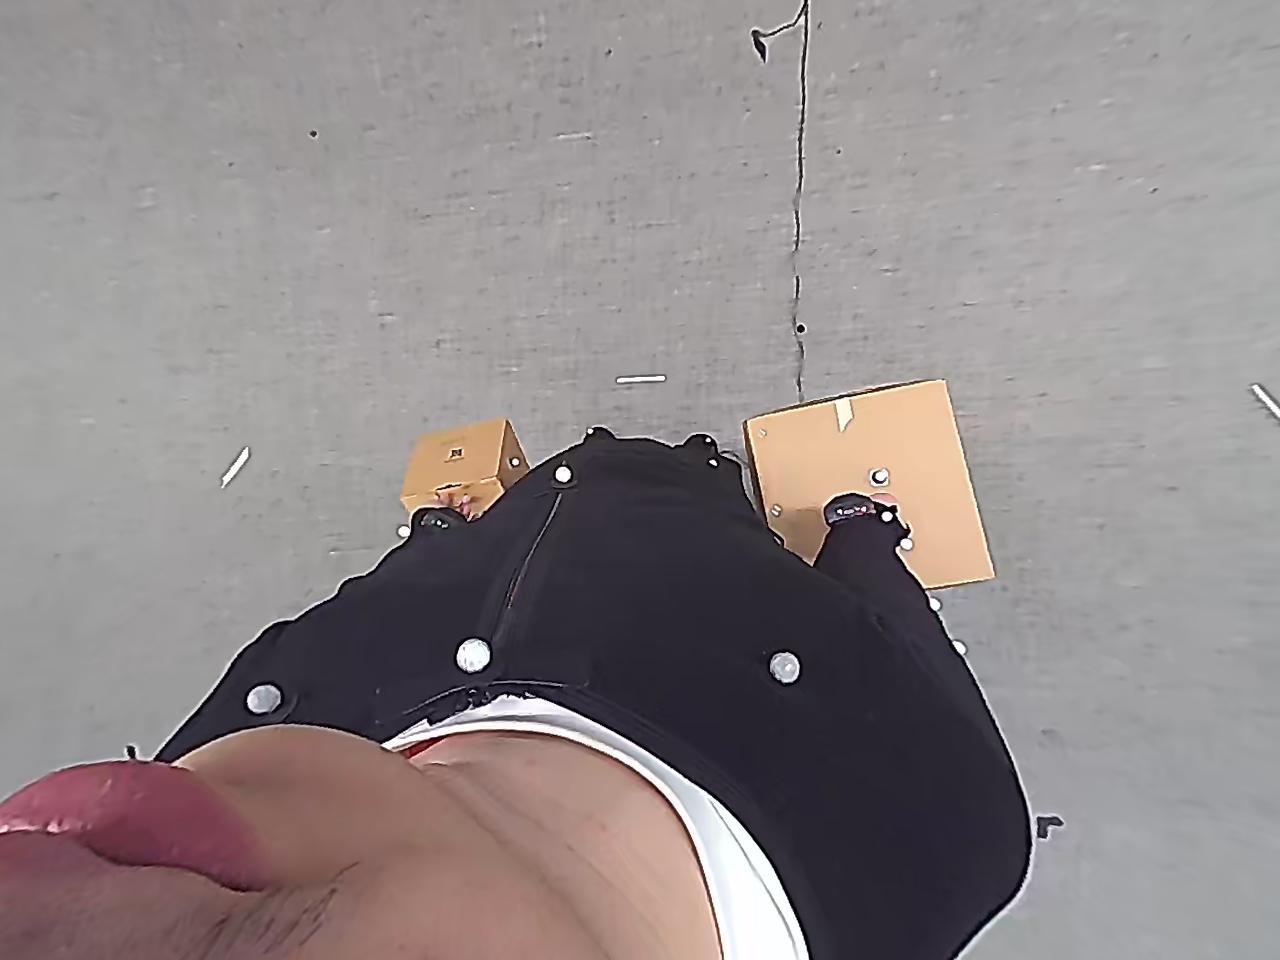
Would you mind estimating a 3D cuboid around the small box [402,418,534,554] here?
[{"bbox_3d":[-0.300,0.017,0.986,0.168,0.179,0.176,-12,130,3],"label":"small box"}]
